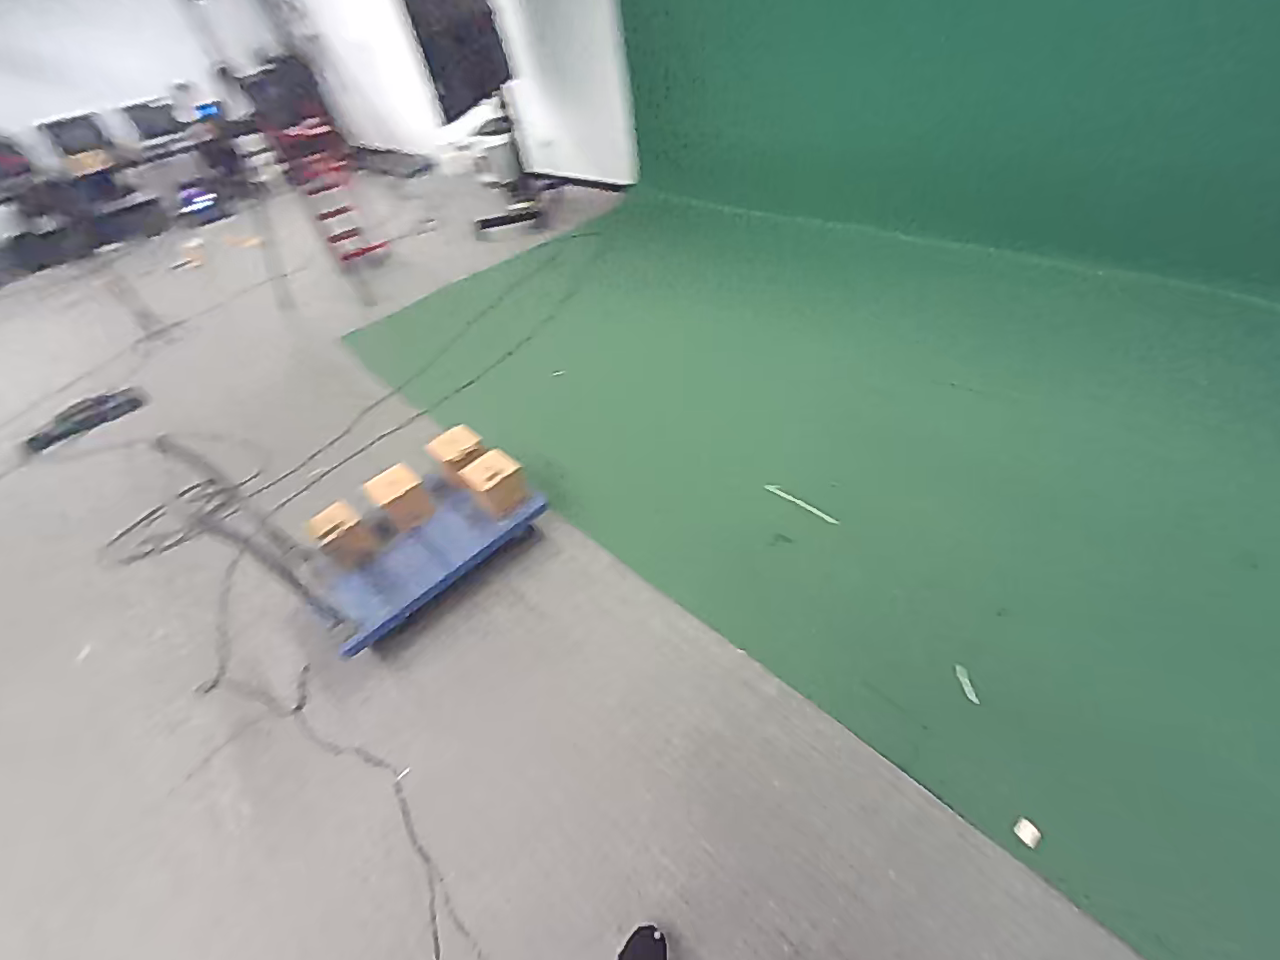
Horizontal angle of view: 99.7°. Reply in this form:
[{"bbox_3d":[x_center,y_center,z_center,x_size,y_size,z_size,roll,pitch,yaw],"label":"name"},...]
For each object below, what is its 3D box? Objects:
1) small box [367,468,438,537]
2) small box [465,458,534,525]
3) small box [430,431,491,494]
[{"bbox_3d":[-0.926,0.090,2.116,0.168,0.176,0.179,-38,51,-25],"label":"small box"},{"bbox_3d":[-0.539,0.050,2.097,0.168,0.176,0.179,-38,49,-26],"label":"small box"},{"bbox_3d":[-0.731,-0.070,2.237,0.168,0.176,0.179,-39,50,-25],"label":"small box"}]
